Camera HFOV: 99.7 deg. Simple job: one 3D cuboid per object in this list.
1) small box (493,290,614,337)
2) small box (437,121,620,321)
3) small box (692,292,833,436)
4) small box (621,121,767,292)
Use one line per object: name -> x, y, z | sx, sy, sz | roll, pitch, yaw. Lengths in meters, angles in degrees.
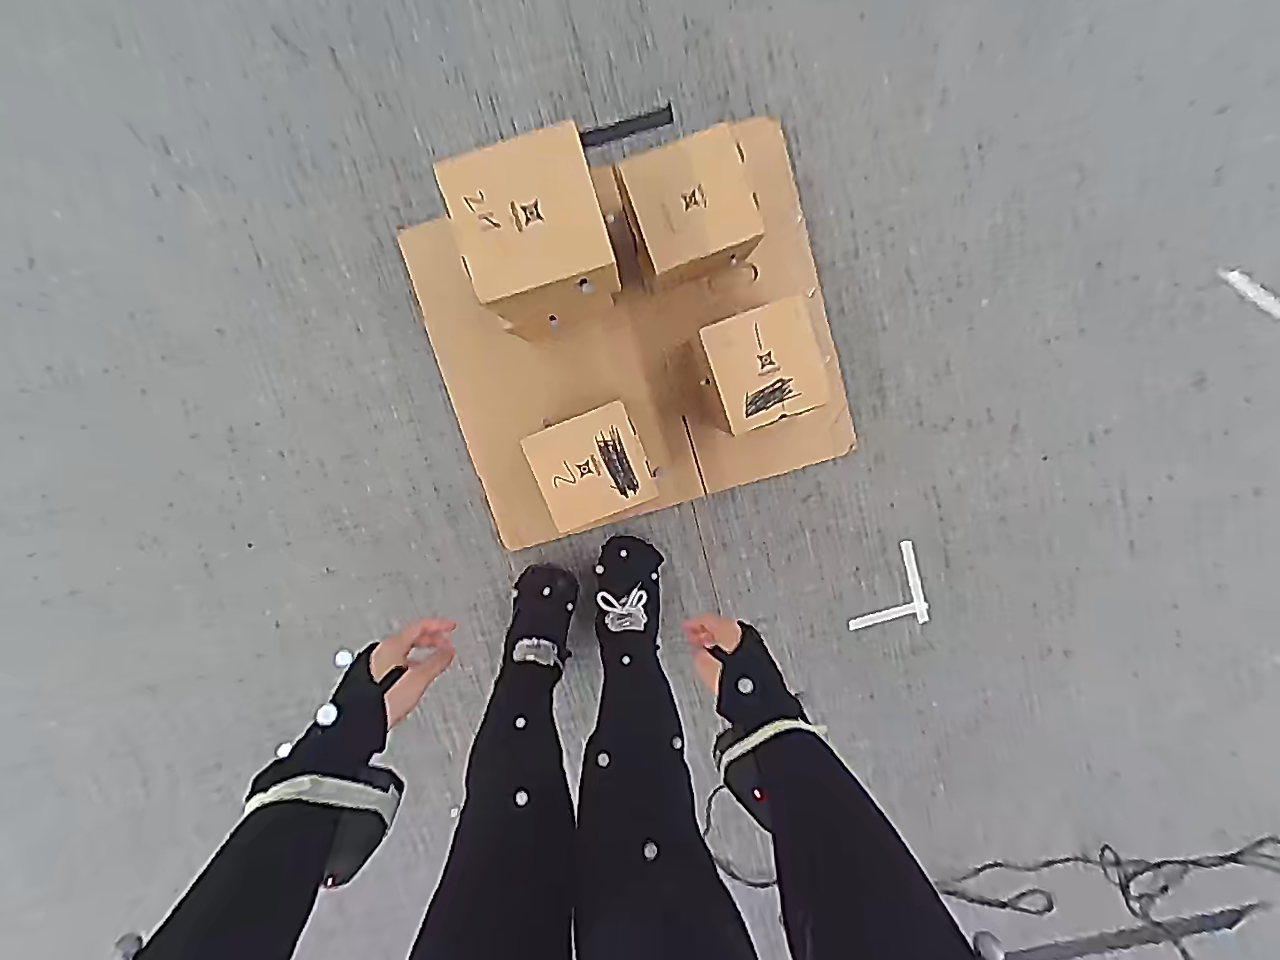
small box -> -0.153, -0.341, 0.871 | 0.179, 0.176, 0.168 | -20, 99, 4
small box -> -0.130, -0.321, 0.706 | 0.179, 0.176, 0.168 | -17, 98, 3
small box -> 0.194, -0.187, 0.896 | 0.168, 0.176, 0.179 | -20, 98, 3
small box -> 0.079, -0.420, 0.861 | 0.179, 0.176, 0.168 | -21, 98, 4
